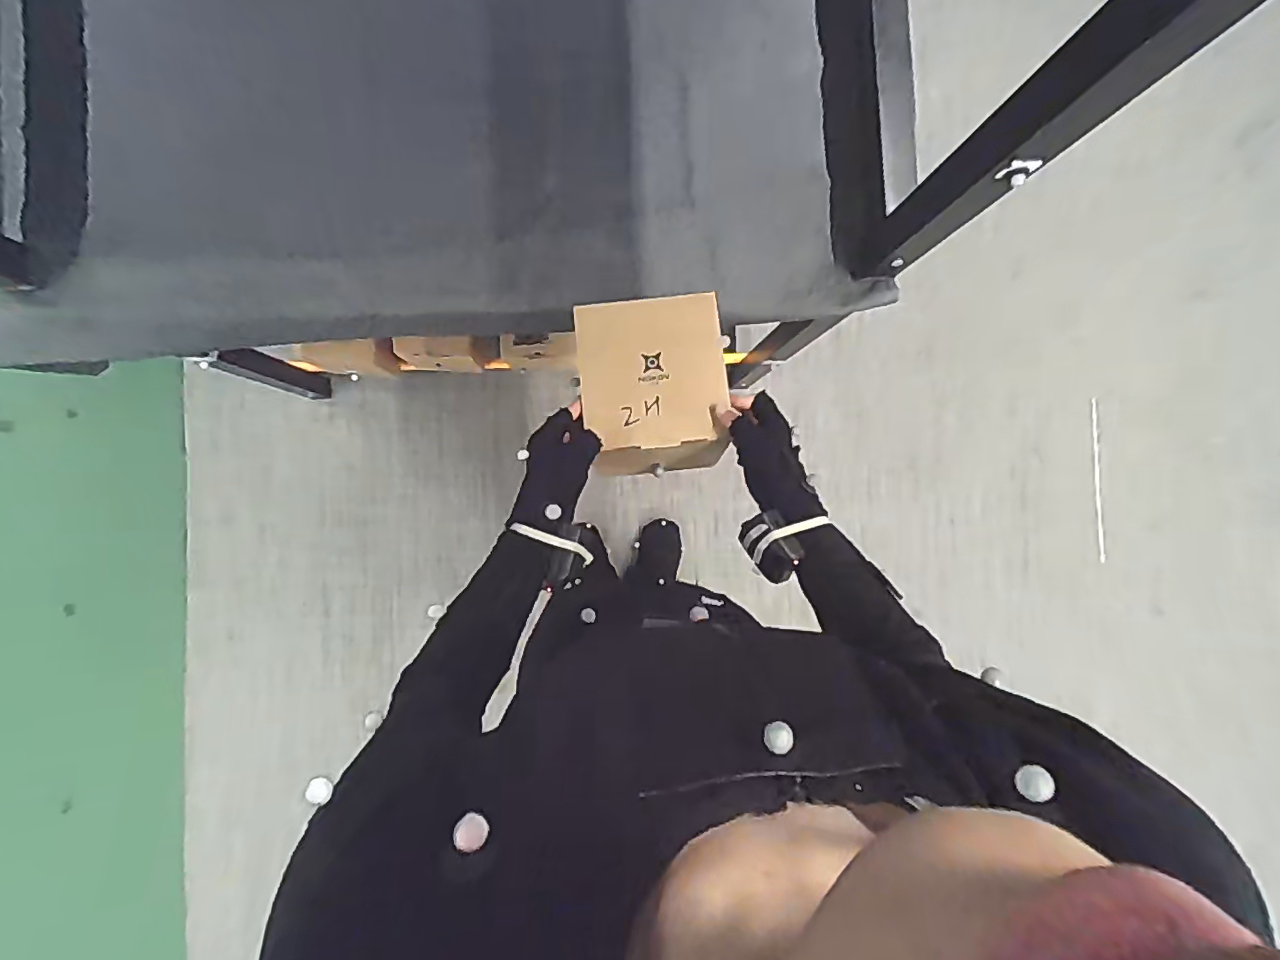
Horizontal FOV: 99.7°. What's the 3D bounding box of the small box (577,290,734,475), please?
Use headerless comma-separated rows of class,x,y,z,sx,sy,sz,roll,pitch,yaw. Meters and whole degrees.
small box,0.015,-0.113,0.685,0.168,0.176,0.179,-6,80,0
